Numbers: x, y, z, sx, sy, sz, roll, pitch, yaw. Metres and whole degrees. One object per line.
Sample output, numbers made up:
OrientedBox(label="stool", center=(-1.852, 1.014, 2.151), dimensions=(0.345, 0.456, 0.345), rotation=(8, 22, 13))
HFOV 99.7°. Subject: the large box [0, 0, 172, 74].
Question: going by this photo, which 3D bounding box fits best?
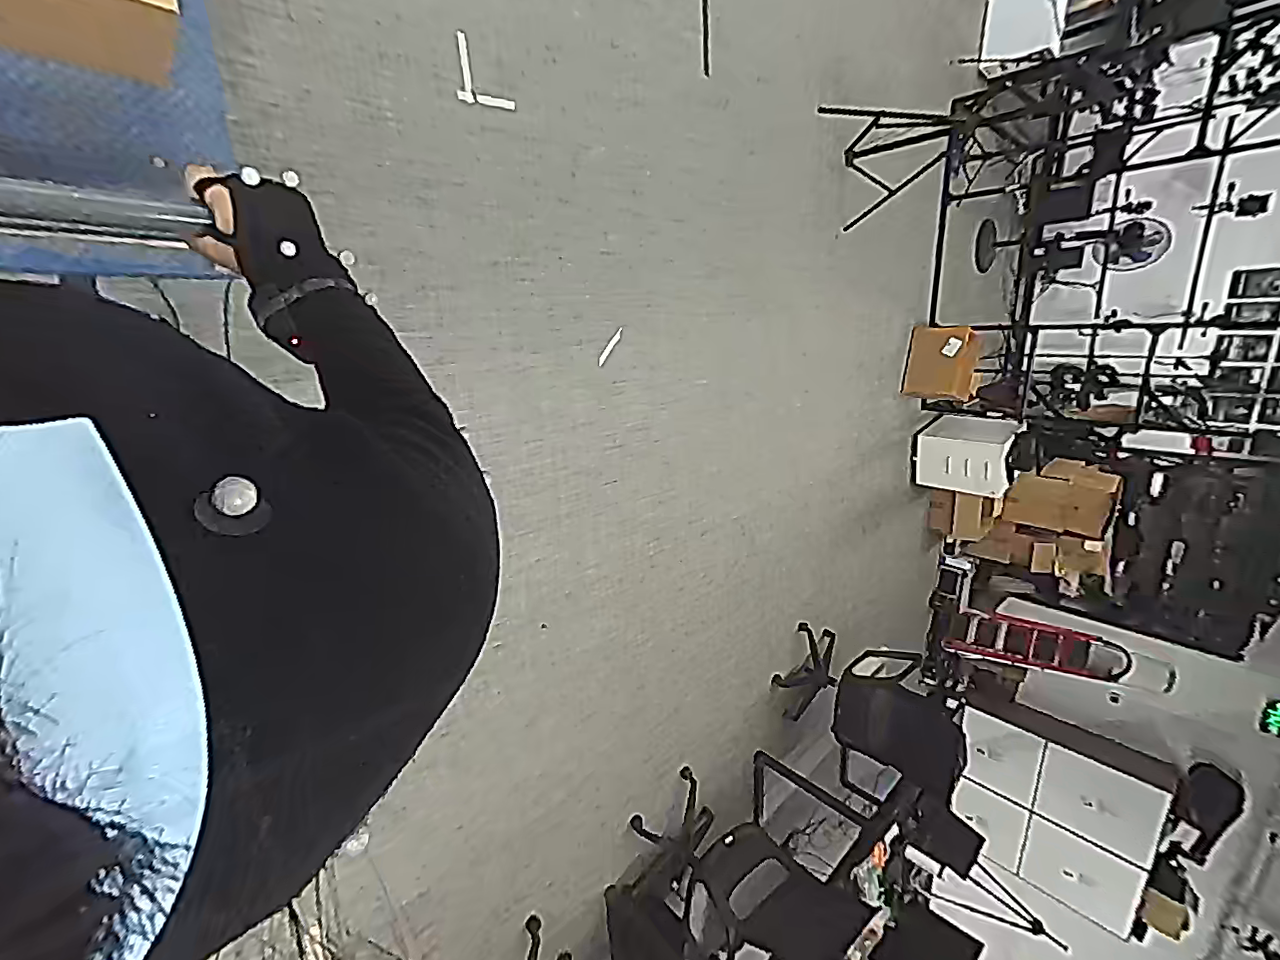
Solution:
OrientedBox(label="large box", center=(-0.880, -0.782, 0.670), dimensions=(0.408, 0.320, 0.320), rotation=(-13, 109, -41))
